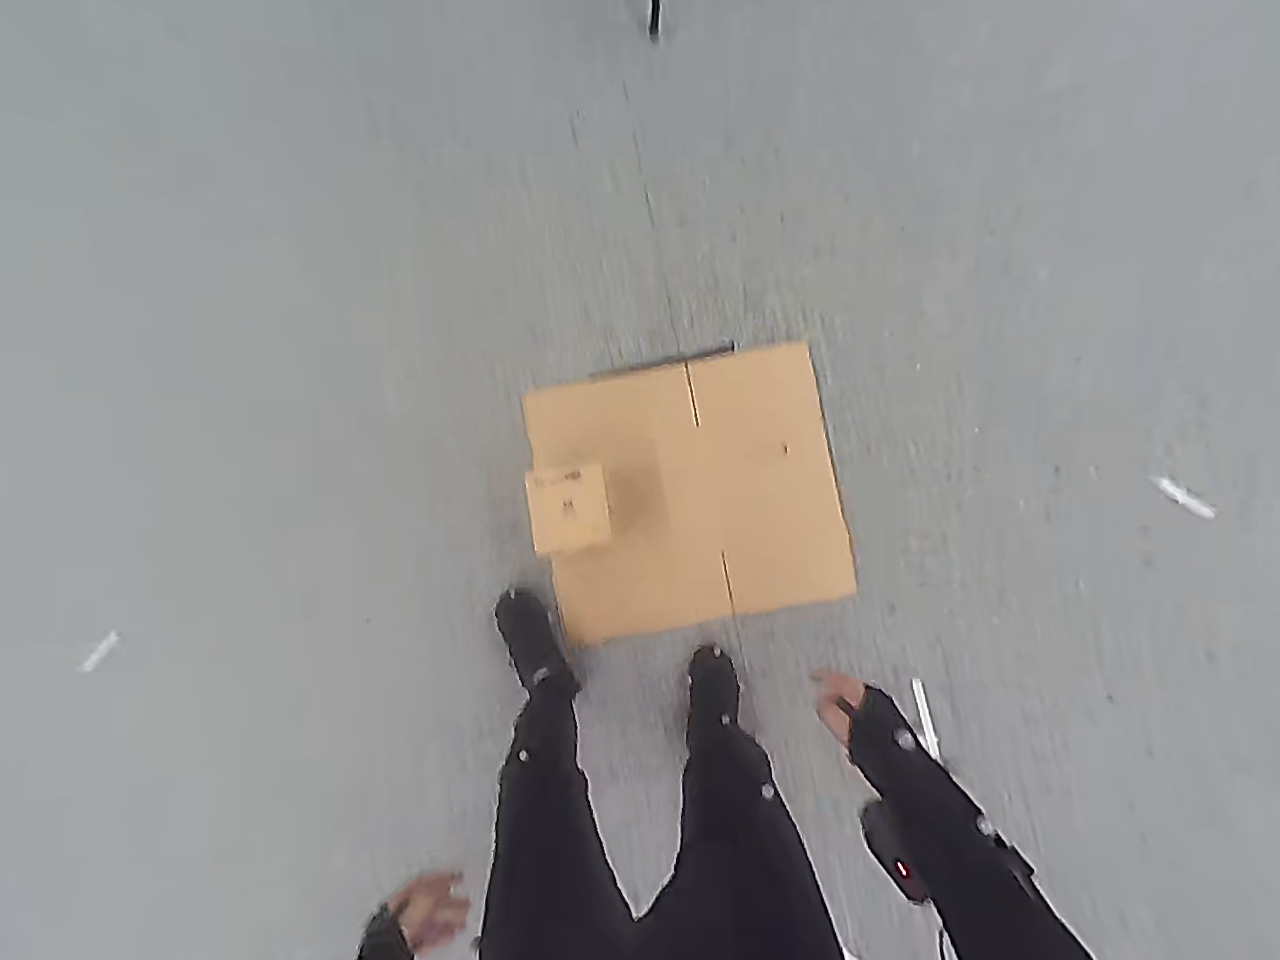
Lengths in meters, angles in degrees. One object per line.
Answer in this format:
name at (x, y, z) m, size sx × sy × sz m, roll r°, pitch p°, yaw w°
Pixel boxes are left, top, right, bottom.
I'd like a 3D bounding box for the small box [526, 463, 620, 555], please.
small box at (-0.141, 0.061, 1.196) m, size 0.168 × 0.176 × 0.179 m, roll -8°, pitch 88°, yaw 2°
